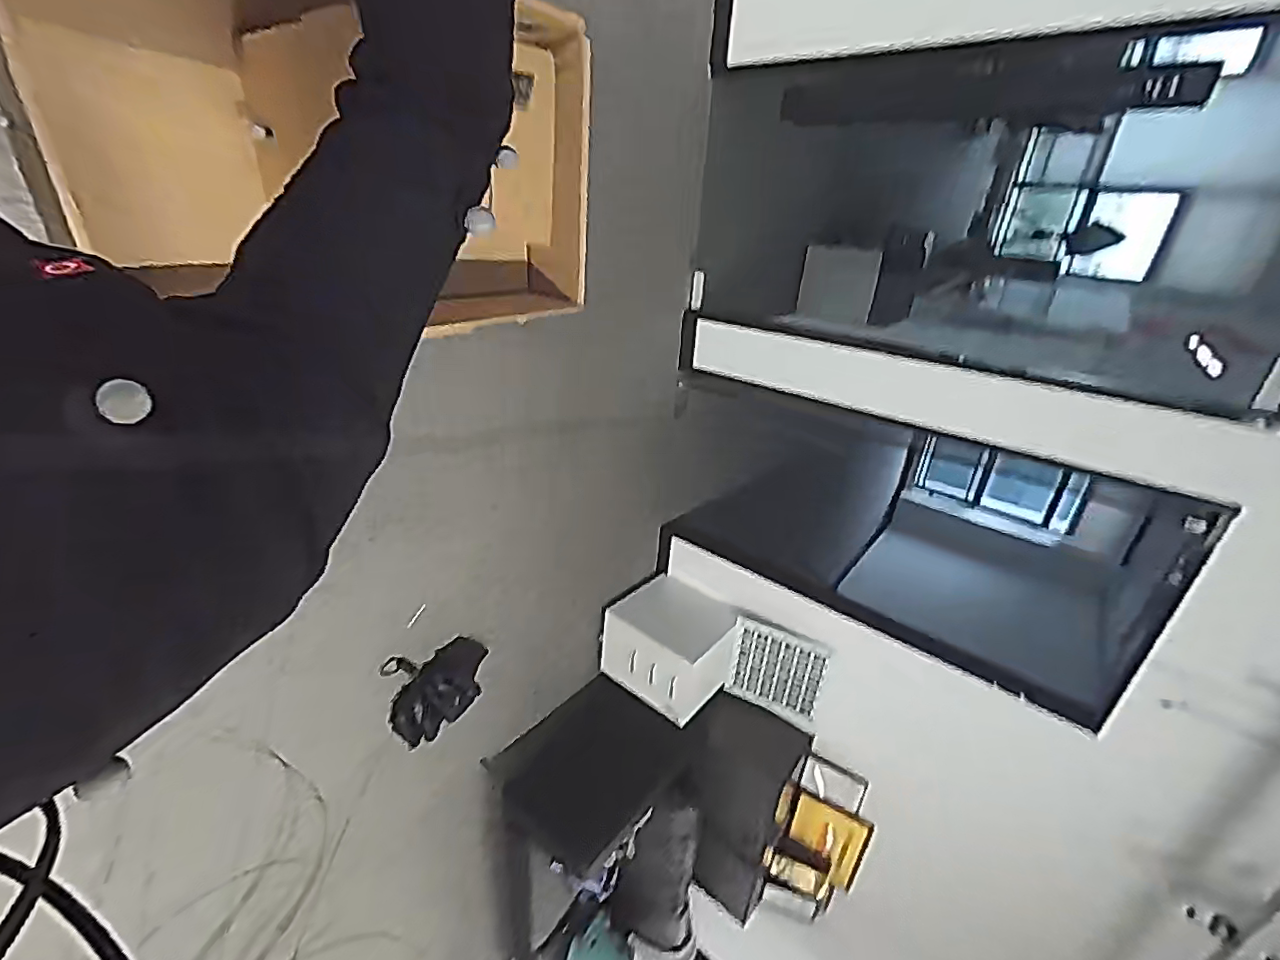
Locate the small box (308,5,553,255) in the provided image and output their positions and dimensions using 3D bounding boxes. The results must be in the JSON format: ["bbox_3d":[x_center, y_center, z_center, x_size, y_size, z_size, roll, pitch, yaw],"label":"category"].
[{"bbox_3d":[-0.208,-0.335,0.550,0.168,0.176,0.179,-24,129,-48],"label":"small box"}]

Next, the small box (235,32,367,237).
[{"bbox_3d":[-0.335,-0.391,0.637,0.168,0.176,0.179,-29,133,-47],"label":"small box"}]
